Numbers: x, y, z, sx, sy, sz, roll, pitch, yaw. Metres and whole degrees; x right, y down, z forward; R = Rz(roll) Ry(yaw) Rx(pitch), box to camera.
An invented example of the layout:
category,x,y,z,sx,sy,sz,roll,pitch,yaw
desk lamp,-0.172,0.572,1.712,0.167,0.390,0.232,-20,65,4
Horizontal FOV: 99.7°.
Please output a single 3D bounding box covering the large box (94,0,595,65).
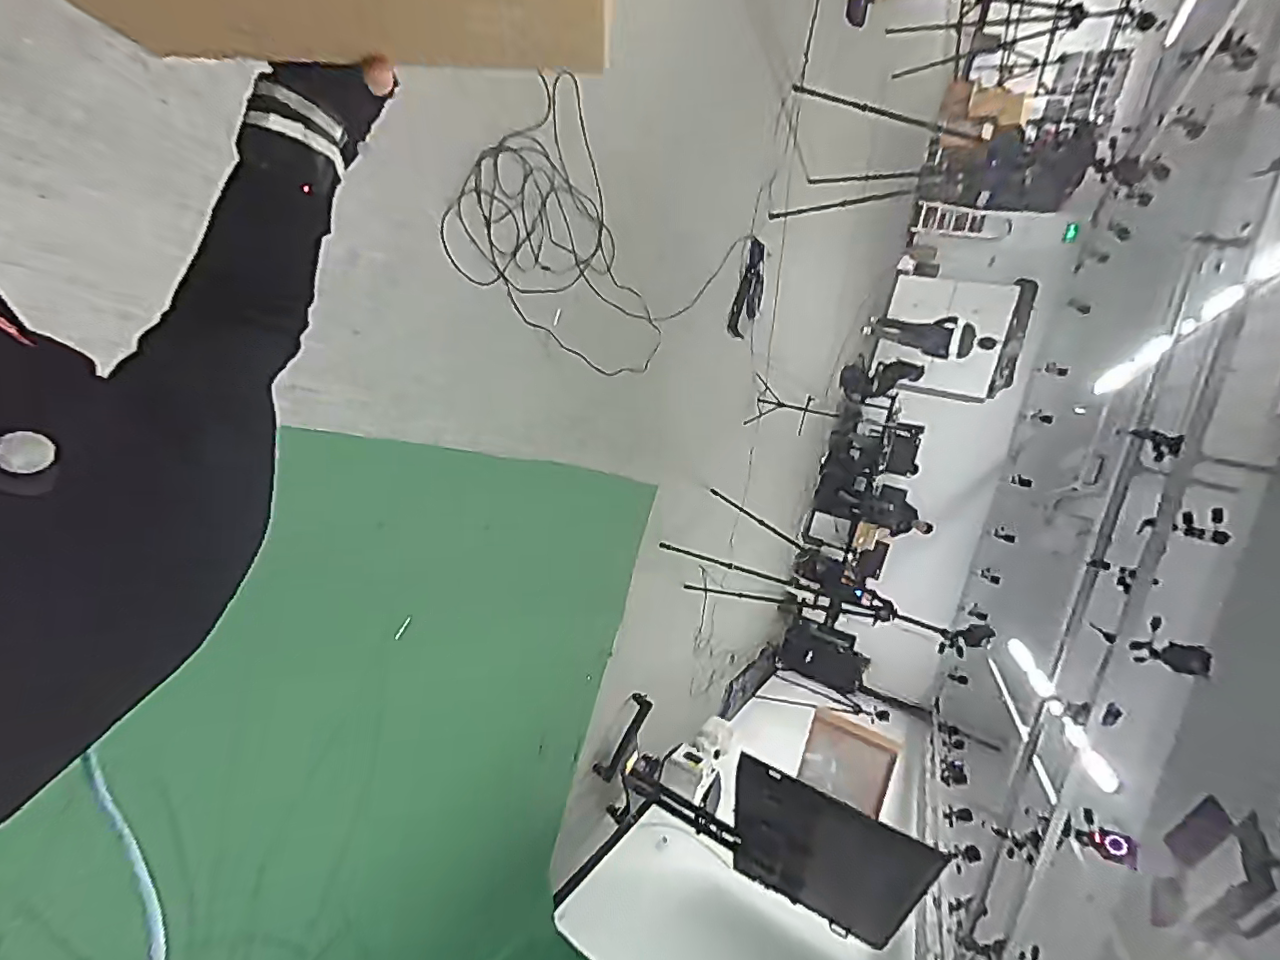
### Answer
category,x,y,z,sx,sy,sz,roll,pitch,yaw
large box,-0.170,-0.395,0.156,0.408,0.320,0.320,-108,-160,-75
